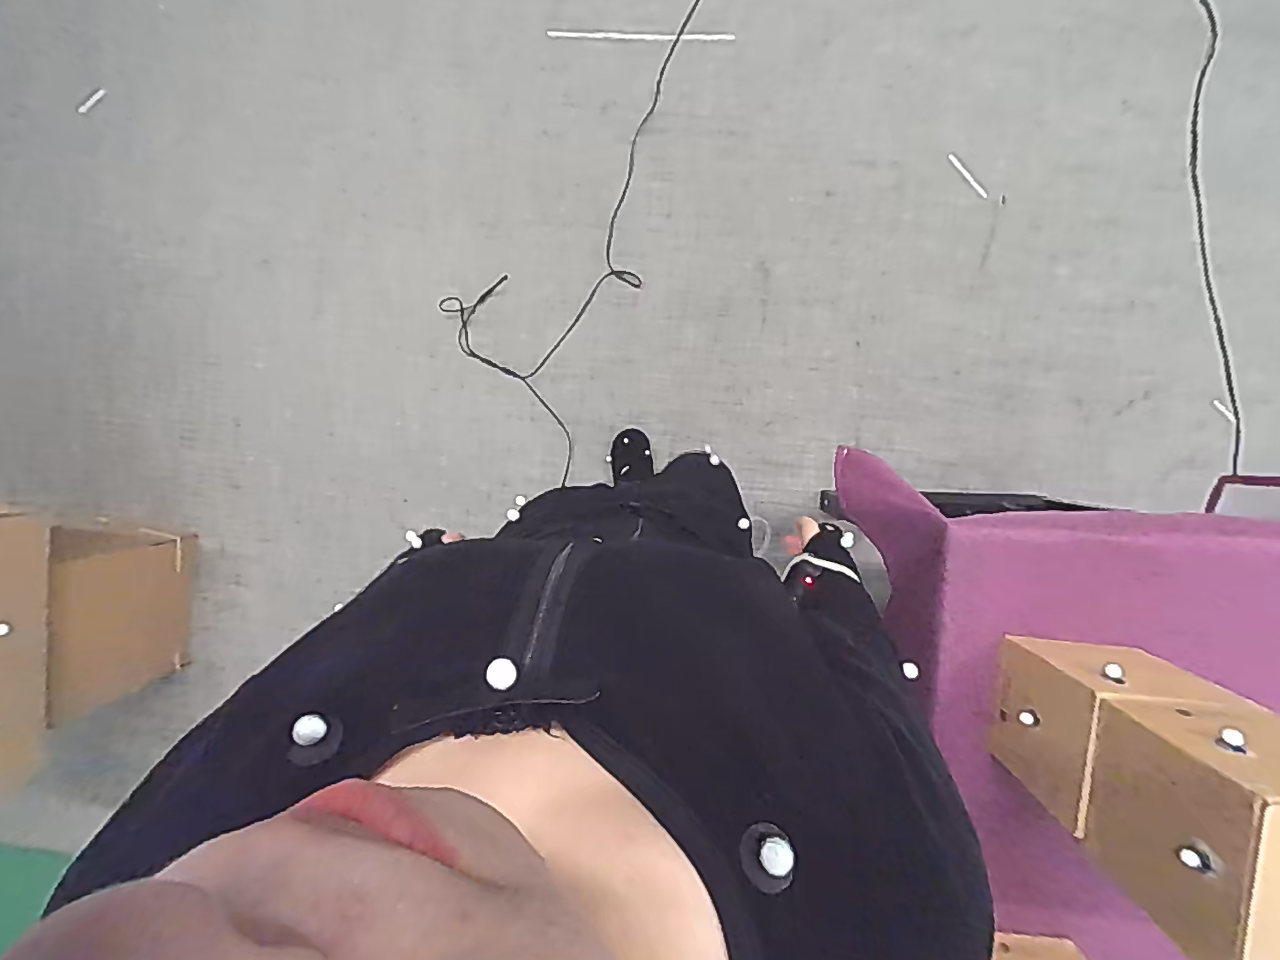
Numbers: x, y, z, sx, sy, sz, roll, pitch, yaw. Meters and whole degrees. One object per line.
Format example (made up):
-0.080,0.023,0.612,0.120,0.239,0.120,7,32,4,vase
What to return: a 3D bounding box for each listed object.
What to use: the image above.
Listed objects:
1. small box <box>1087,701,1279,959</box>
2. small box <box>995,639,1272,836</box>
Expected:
0.555,0.325,0.490,0.168,0.176,0.179,4,96,5,small box
0.568,0.305,0.652,0.179,0.176,0.168,5,96,4,small box
